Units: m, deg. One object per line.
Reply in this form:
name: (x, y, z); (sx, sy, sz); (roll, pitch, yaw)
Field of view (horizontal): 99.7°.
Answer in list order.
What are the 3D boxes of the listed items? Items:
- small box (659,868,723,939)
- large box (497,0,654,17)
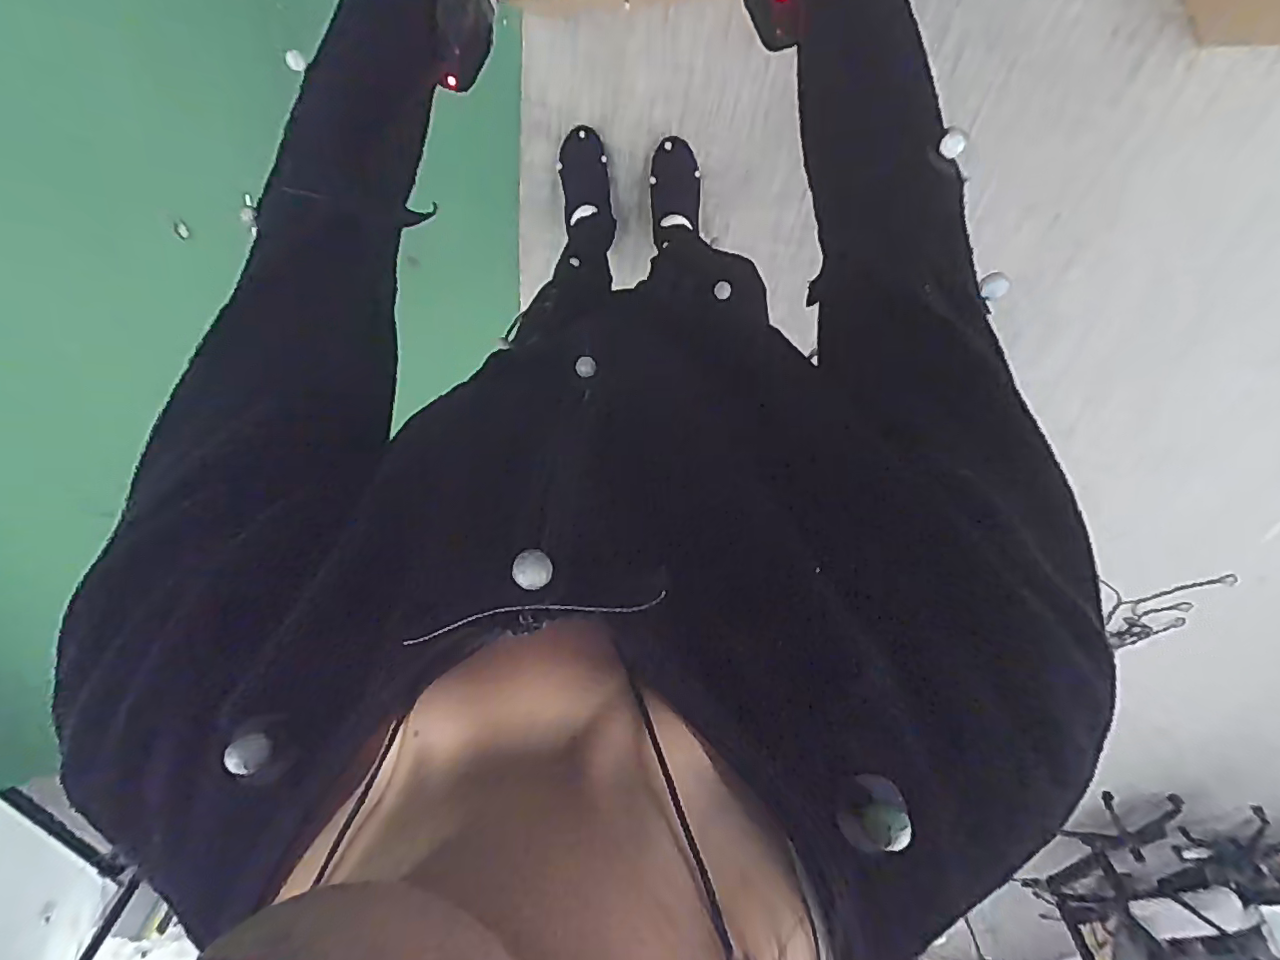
small box: (0.153, 1.355, 1.706); (0.168, 0.176, 0.179); (10, 125, -5)
large box: (-0.030, -0.958, 0.845); (0.408, 0.320, 0.320); (-2, 126, 6)
